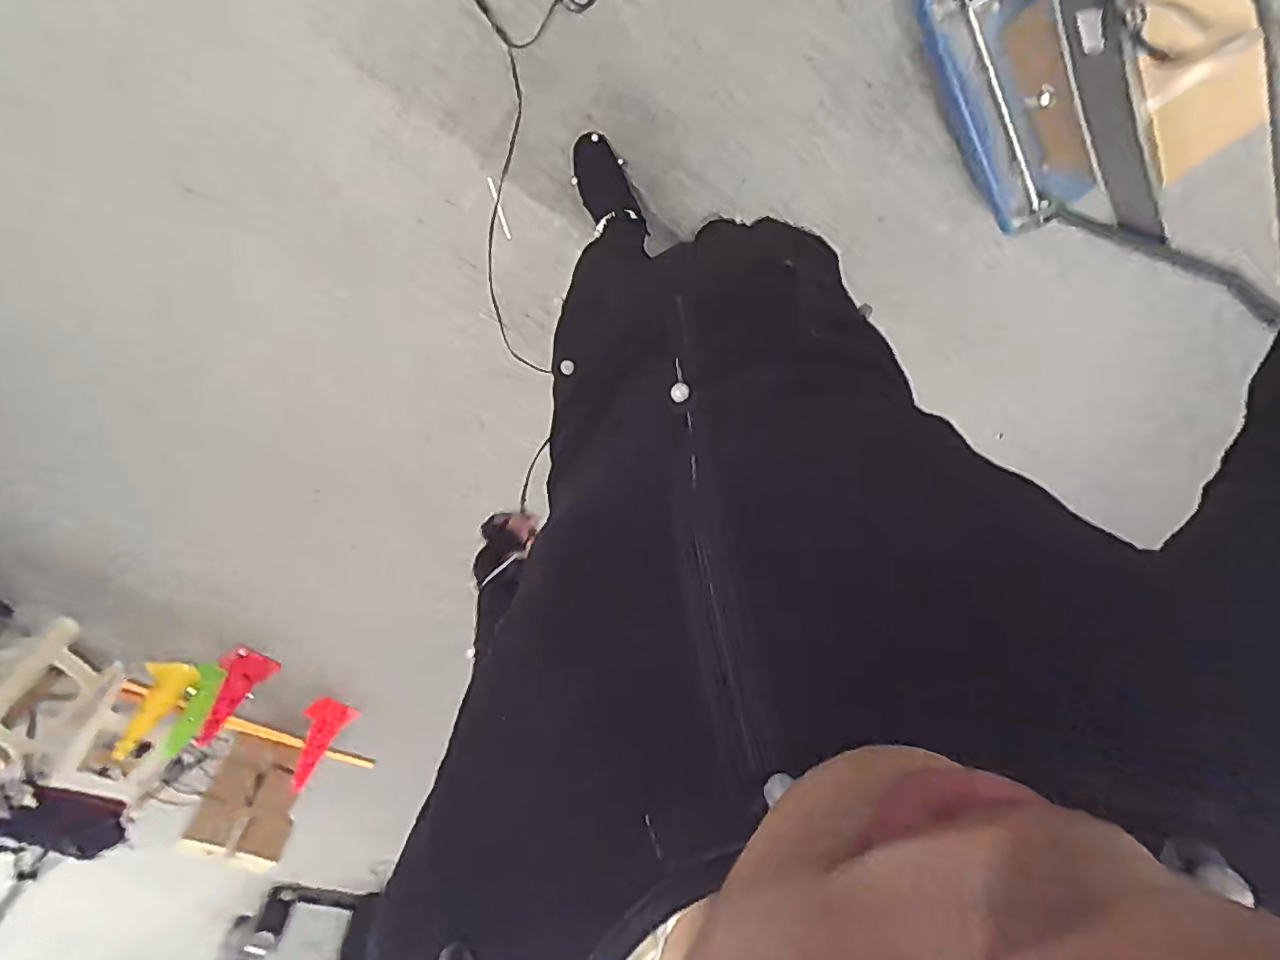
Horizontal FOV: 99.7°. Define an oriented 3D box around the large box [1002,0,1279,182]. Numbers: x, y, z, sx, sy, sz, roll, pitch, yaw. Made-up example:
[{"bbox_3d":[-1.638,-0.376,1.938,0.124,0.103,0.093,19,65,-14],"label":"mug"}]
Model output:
[{"bbox_3d":[0.942,-0.795,0.917,0.408,0.320,0.320,-36,121,20],"label":"large box"}]
